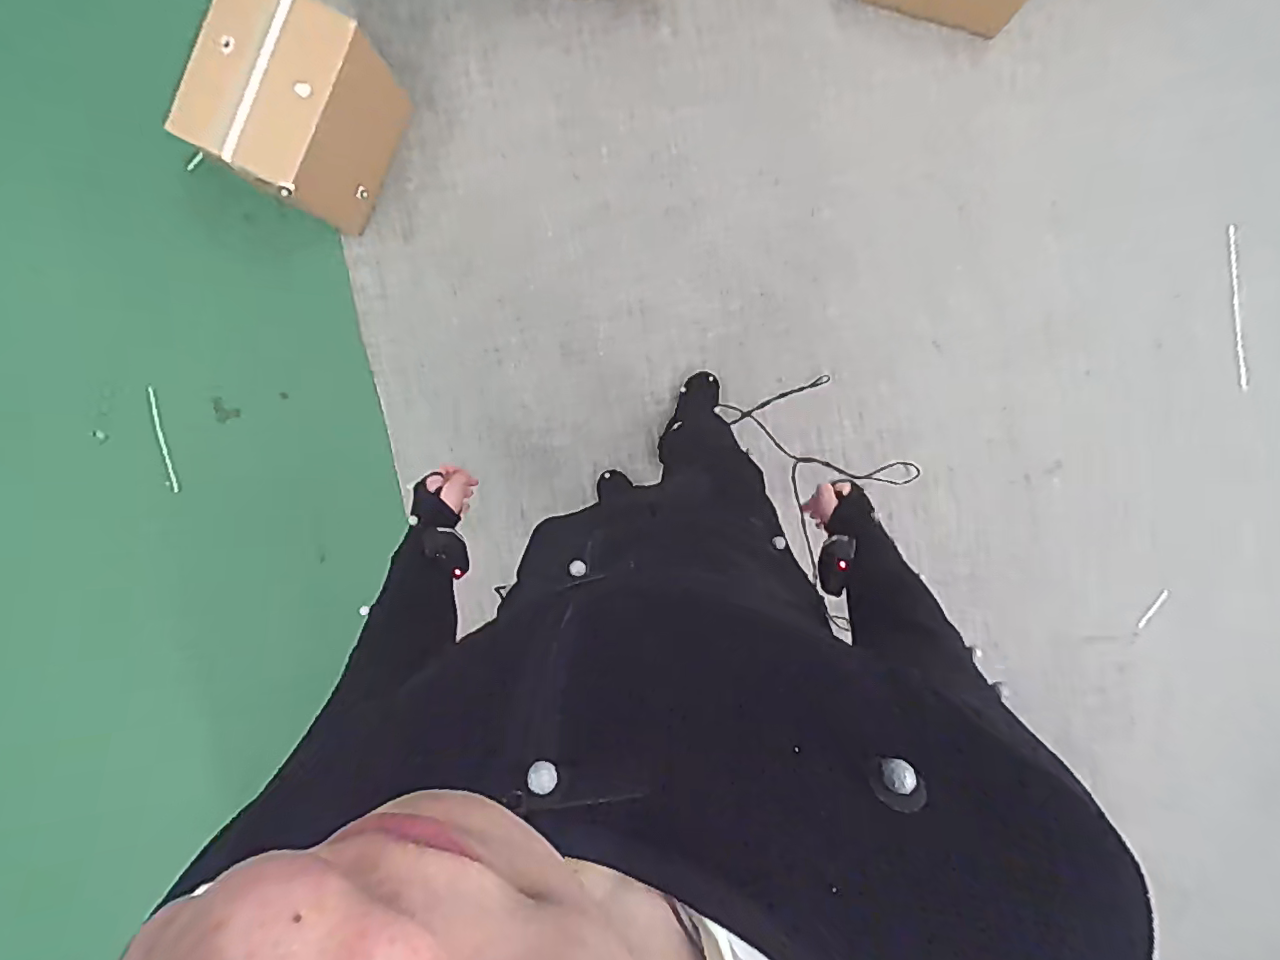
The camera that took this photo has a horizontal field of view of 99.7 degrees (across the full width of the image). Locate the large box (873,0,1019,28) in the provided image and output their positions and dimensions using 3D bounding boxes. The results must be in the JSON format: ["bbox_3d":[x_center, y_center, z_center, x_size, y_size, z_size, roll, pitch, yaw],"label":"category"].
[{"bbox_3d":[0.812,-1.409,1.320,0.408,0.320,0.320,14,96,-1],"label":"large box"}]

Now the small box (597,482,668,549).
[{"bbox_3d":[-0.022,0.097,1.567,0.179,0.176,0.168,10,92,8],"label":"small box"}]
